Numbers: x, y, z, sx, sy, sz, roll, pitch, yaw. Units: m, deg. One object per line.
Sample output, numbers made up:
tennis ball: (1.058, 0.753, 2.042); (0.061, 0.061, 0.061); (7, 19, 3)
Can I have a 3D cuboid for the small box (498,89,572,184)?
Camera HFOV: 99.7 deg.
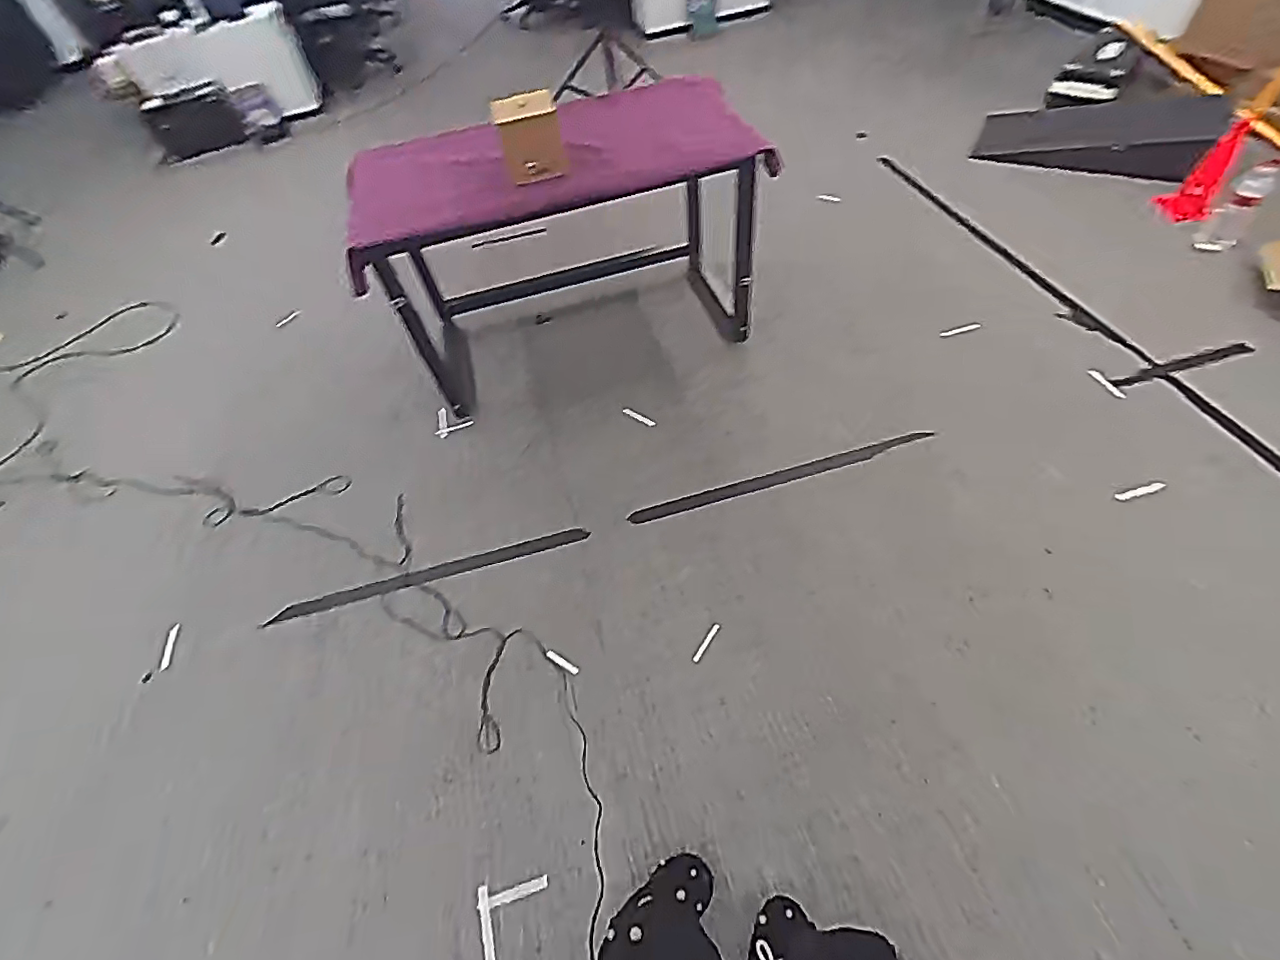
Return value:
small box: (-0.299, -0.981, 1.549); (0.168, 0.176, 0.179); (-14, 54, -2)
